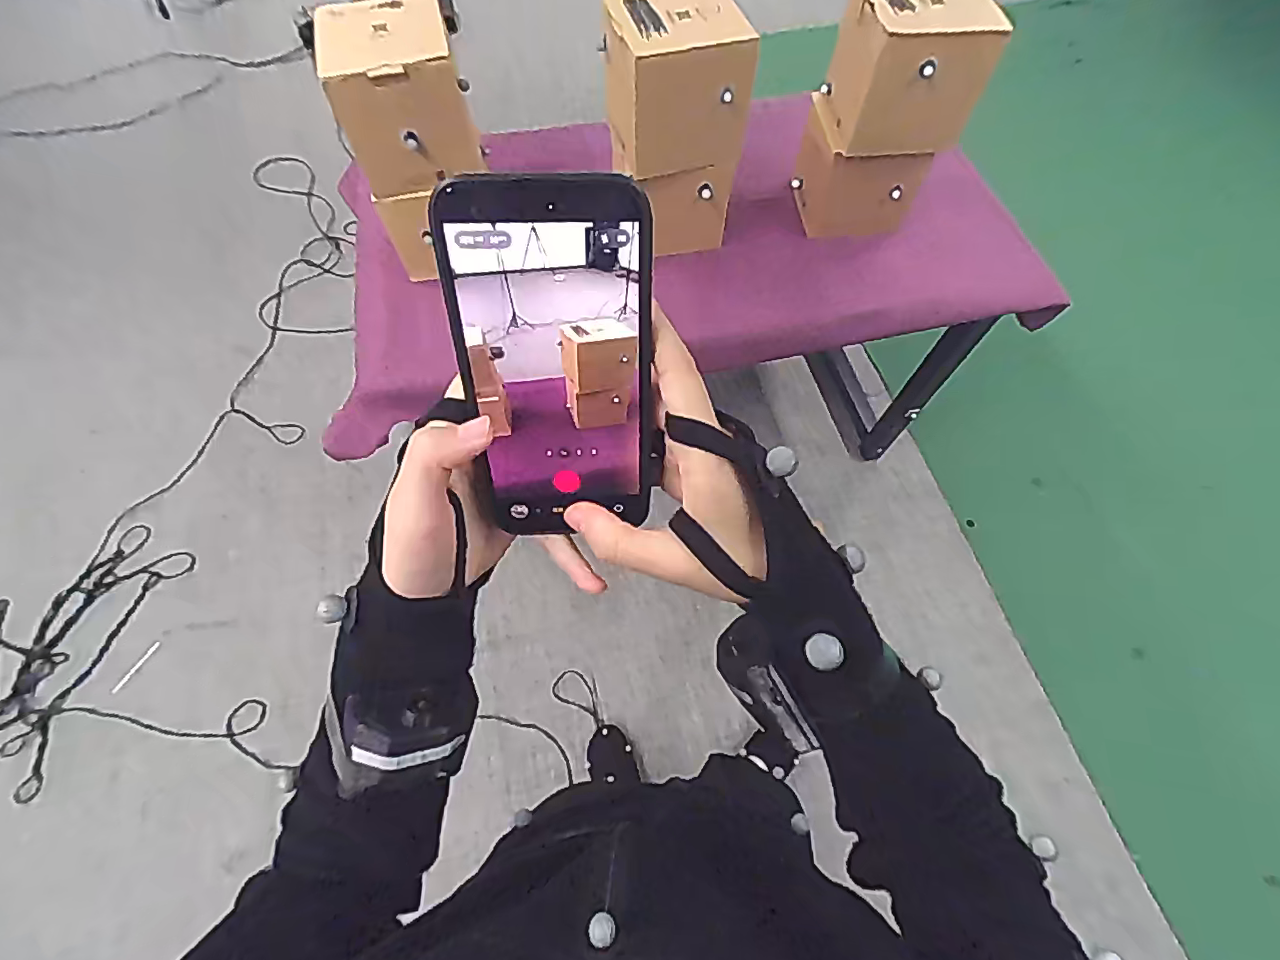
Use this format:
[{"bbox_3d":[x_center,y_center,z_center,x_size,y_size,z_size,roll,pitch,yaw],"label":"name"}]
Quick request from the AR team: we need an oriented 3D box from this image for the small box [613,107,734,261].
[{"bbox_3d":[0.051,-0.514,0.953,0.179,0.176,0.168,-9,65,-4],"label":"small box"}]

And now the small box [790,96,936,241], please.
[{"bbox_3d":[0.388,-0.556,0.974,0.179,0.176,0.168,-4,64,-1],"label":"small box"}]

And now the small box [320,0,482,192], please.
[{"bbox_3d":[-0.339,-0.547,0.788,0.168,0.176,0.179,-13,66,-7],"label":"small box"}]

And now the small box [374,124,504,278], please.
[{"bbox_3d":[-0.337,-0.470,0.933,0.168,0.176,0.179,-9,65,-4],"label":"small box"}]

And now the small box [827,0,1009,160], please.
[{"bbox_3d":[0.399,-0.614,0.821,0.179,0.176,0.168,-4,64,-2],"label":"small box"}]
